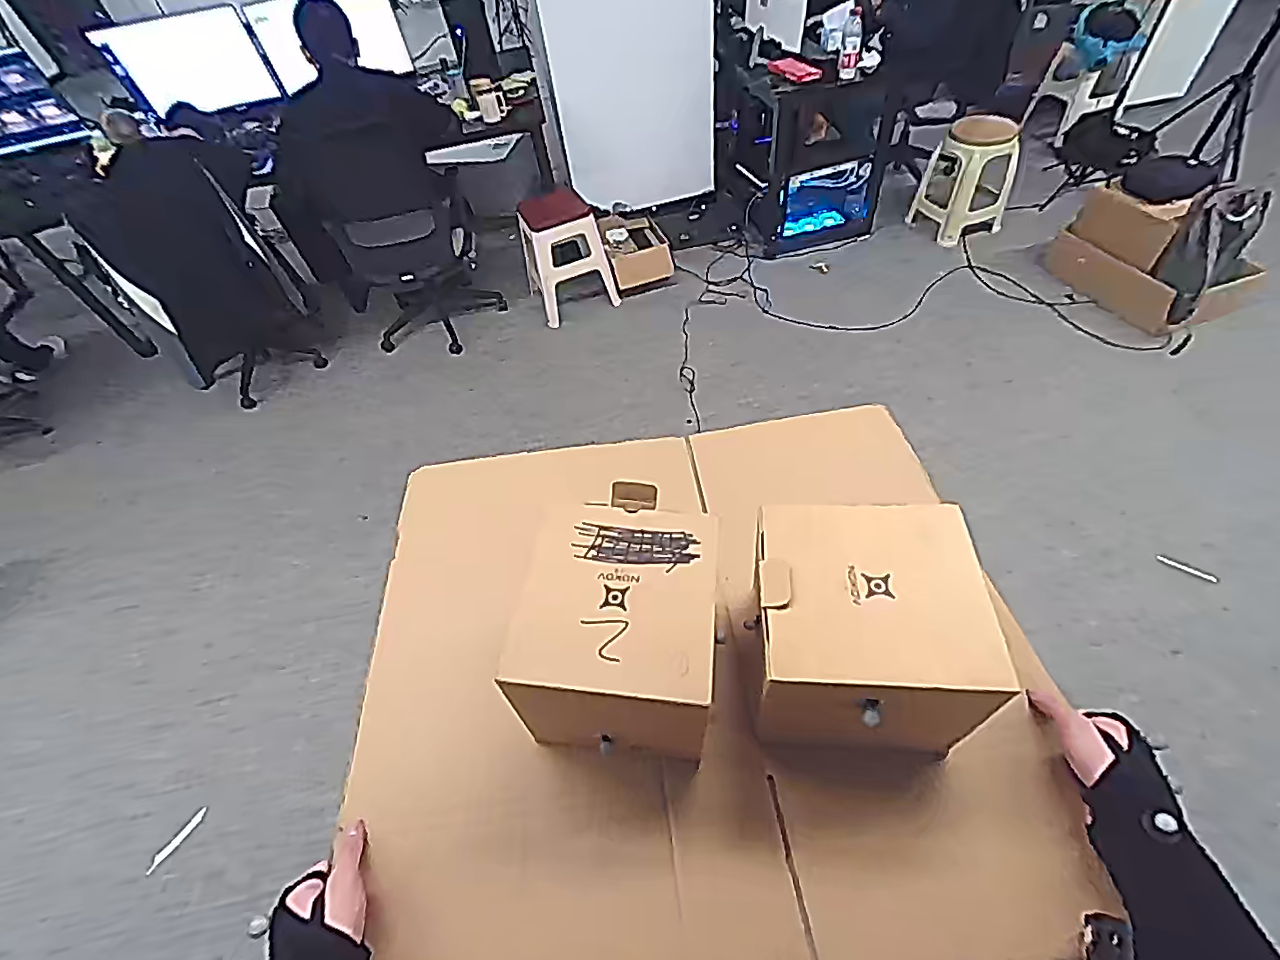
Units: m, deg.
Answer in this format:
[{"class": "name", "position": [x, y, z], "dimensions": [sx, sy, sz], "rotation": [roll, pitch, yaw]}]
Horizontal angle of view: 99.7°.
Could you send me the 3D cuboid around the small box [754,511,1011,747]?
[{"class": "small box", "position": [0.203, 0.144, 0.514], "dimensions": [0.179, 0.176, 0.168], "rotation": [-1, 51, 10]}]
